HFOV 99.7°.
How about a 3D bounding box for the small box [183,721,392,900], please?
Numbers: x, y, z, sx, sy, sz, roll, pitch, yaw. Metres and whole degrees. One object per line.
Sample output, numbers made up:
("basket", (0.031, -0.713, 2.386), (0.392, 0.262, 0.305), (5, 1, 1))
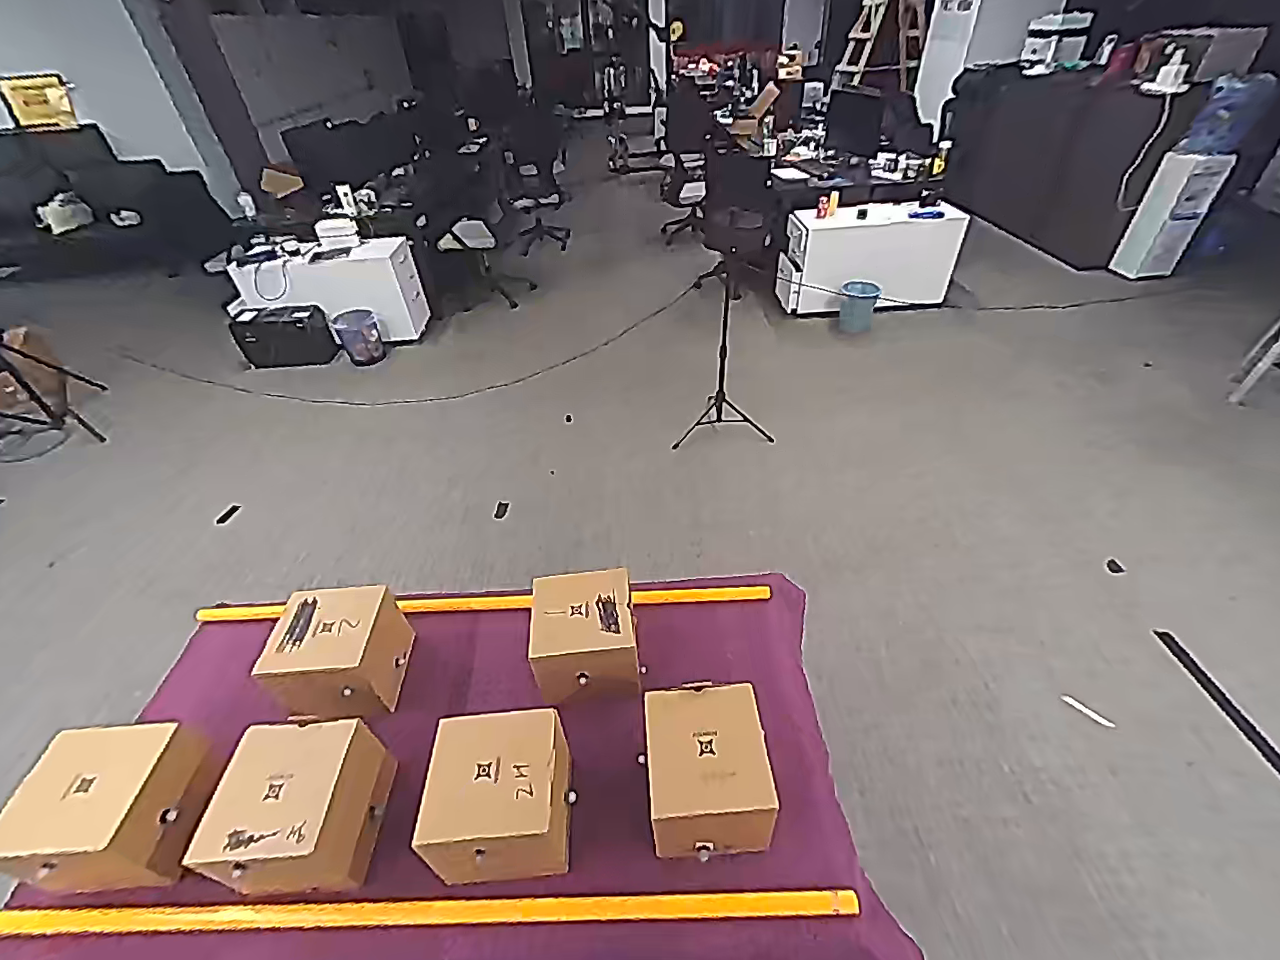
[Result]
("small box", (-0.486, 0.477, 0.784), (0.168, 0.176, 0.179), (-5, 40, 1))

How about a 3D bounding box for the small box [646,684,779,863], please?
("small box", (0.096, 0.427, 0.791), (0.168, 0.176, 0.179), (-5, 39, 1))

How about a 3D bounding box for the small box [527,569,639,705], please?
("small box", (-0.095, 0.284, 0.975), (0.179, 0.176, 0.168), (-6, 42, -1))

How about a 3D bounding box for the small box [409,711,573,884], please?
("small box", (-0.199, 0.459, 0.780), (0.179, 0.176, 0.168), (-5, 39, 0))

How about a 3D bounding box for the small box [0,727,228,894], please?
("small box", (-0.767, 0.487, 0.797), (0.179, 0.176, 0.168), (-4, 40, -1))
